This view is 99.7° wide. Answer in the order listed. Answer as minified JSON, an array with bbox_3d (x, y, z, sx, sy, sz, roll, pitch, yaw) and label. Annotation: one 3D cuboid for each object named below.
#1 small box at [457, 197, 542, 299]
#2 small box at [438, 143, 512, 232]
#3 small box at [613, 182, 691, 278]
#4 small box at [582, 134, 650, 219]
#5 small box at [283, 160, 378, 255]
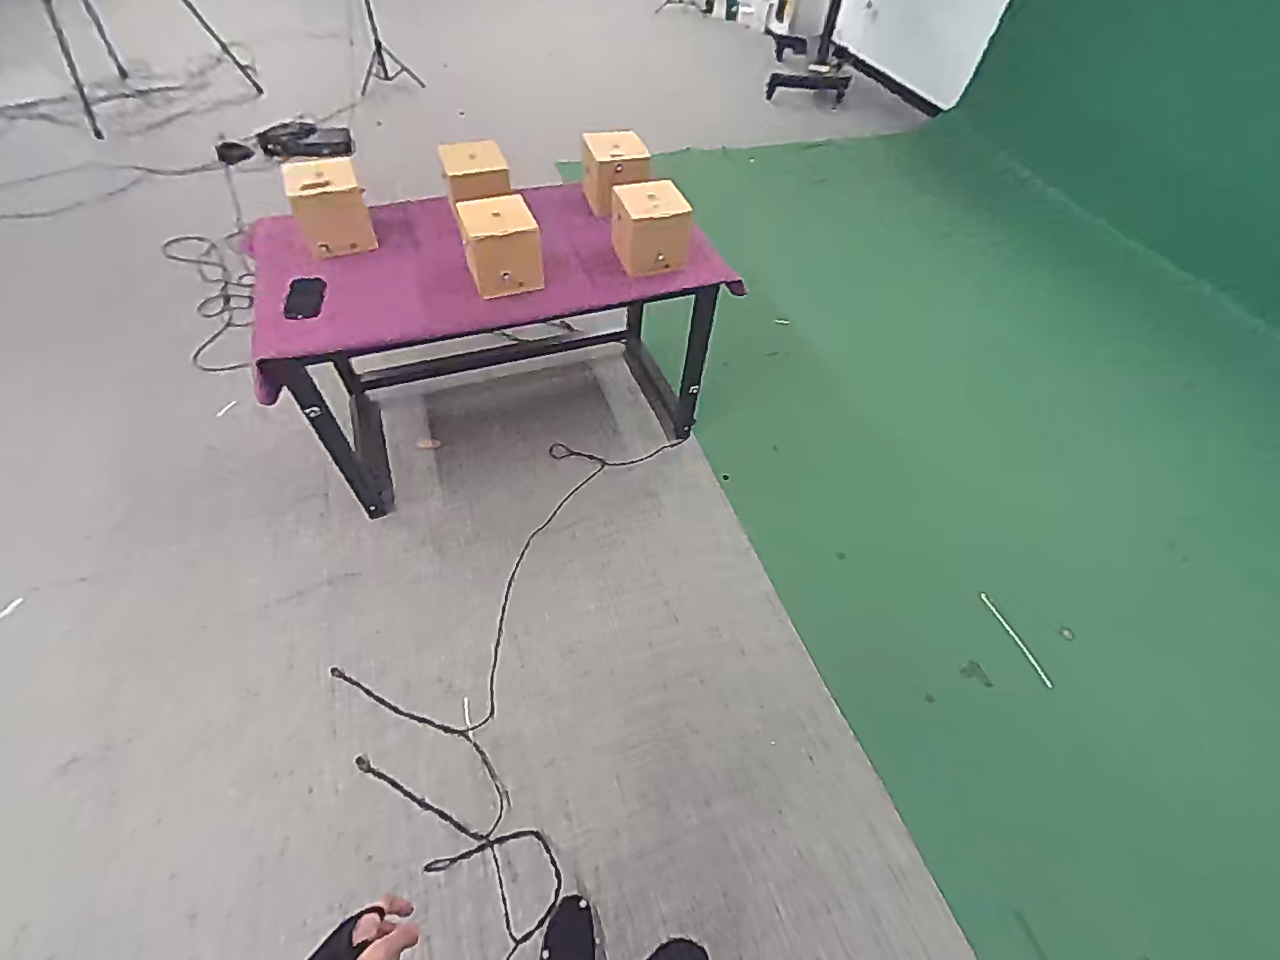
[{"bbox_3d":[-0.356,-0.593,1.385,0.168,0.176,0.179,-17,56,-16],"label":"small box"},{"bbox_3d":[-0.467,-0.837,1.556,0.168,0.176,0.179,-16,57,-14],"label":"small box"},{"bbox_3d":[0.026,-0.680,1.472,0.168,0.176,0.179,-14,56,-12],"label":"small box"},{"bbox_3d":[-0.076,-0.924,1.648,0.168,0.176,0.179,-13,56,-13],"label":"small box"},{"bbox_3d":[-0.818,-0.717,1.440,0.168,0.176,0.179,-18,56,-17],"label":"small box"}]
